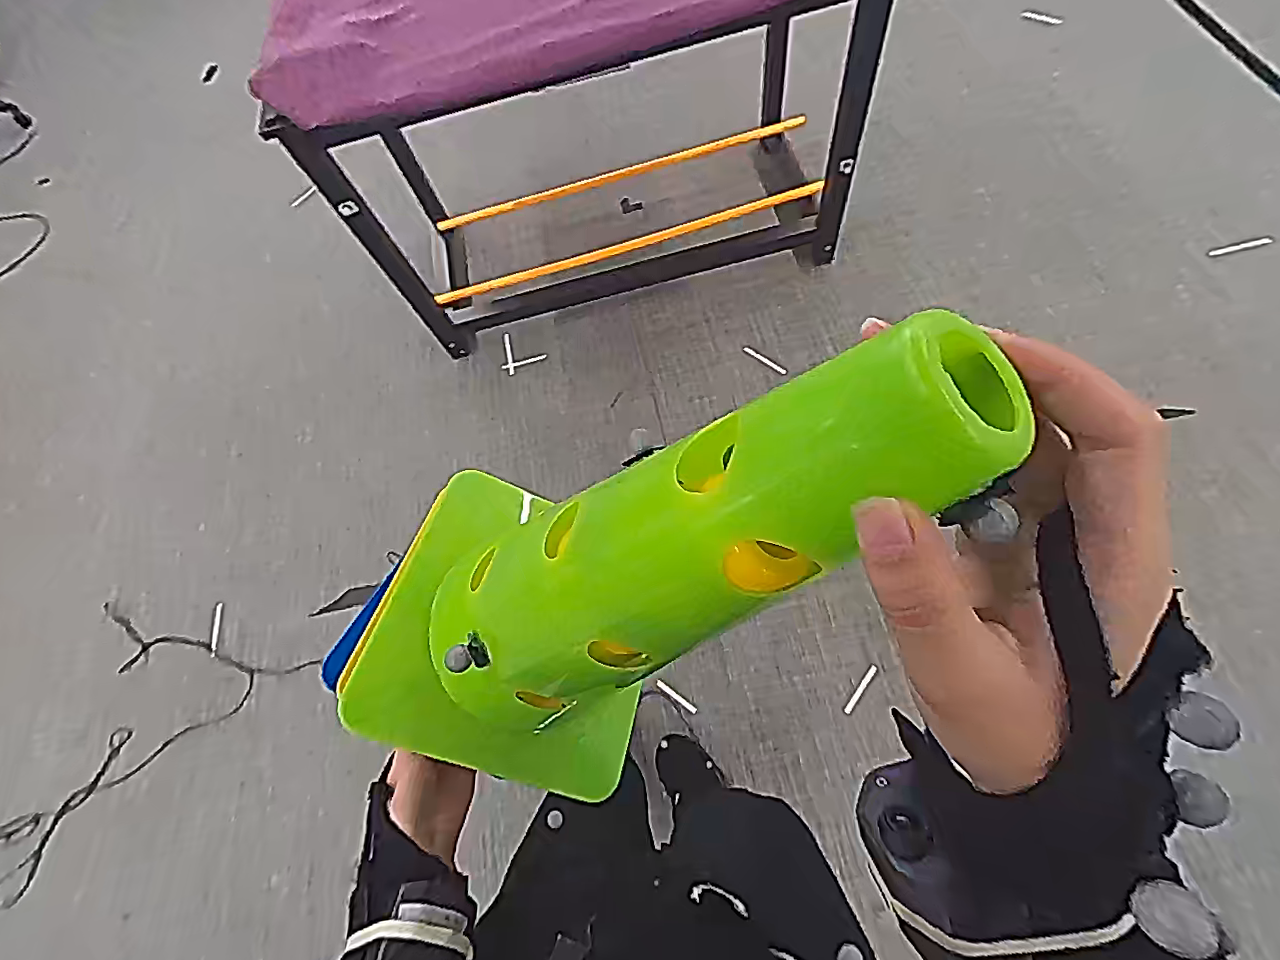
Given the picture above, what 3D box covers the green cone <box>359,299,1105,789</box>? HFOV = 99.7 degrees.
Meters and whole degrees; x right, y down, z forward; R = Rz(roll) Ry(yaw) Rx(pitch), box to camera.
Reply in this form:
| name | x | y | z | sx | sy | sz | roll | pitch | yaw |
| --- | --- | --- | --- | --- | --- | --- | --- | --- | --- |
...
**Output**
| name | x | y | z | sx | sy | sz | roll | pitch | yaw |
| --- | --- | --- | --- | --- | --- | --- | --- | --- | --- |
| green cone | 0.003 | 0.037 | 0.261 | 0.200 | 0.368 | 0.202 | 26 | 59 | -16 |
